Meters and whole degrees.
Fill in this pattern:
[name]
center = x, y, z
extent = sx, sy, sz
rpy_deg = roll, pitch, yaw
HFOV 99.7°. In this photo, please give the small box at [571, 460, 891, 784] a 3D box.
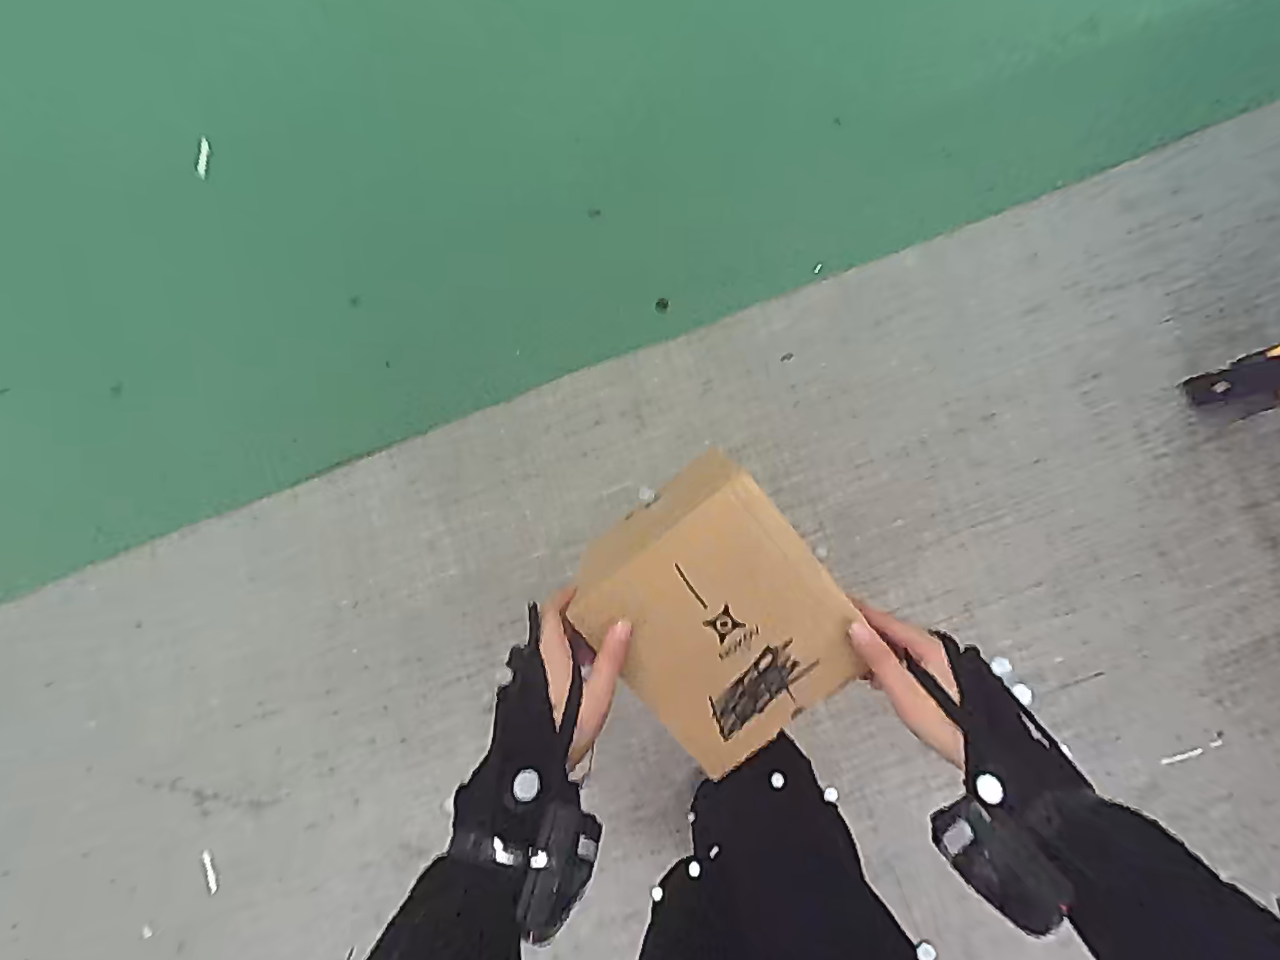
[small box]
center = 0.066, 0.101, 0.463
extent = 0.168, 0.176, 0.179
rpy_deg = -39, 97, 5
